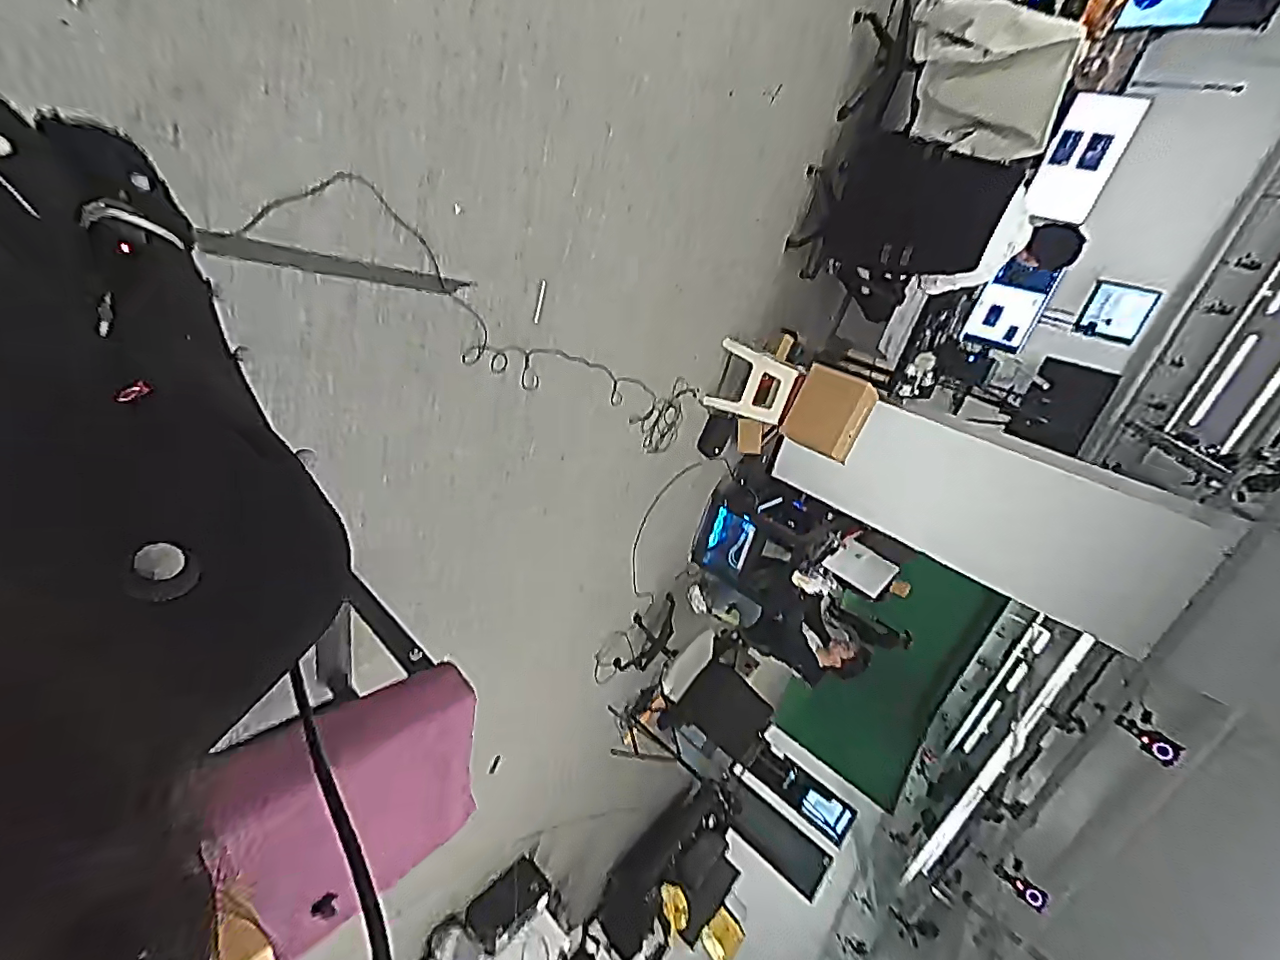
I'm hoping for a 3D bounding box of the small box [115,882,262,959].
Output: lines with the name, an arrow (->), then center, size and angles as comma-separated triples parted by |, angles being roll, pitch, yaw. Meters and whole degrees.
small box -> -0.794, 0.877, 0.960 | 0.168, 0.176, 0.179 | -17, 129, -49
